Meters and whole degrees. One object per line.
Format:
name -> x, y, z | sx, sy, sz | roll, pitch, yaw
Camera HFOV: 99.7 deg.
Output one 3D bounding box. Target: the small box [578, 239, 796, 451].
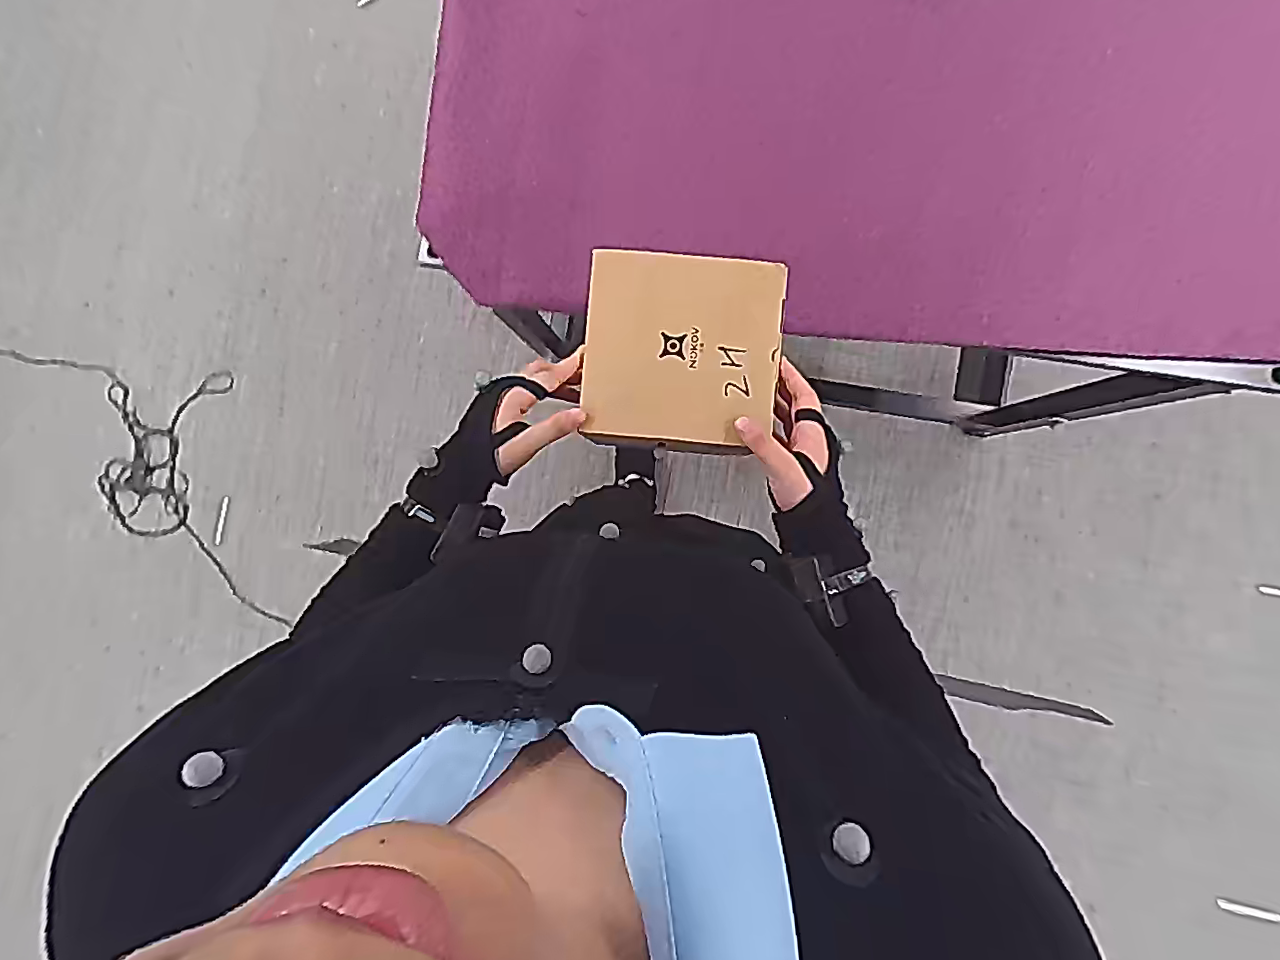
small box -> 0.041, -0.121, 0.549 | 0.179, 0.176, 0.168 | 6, 91, 0
